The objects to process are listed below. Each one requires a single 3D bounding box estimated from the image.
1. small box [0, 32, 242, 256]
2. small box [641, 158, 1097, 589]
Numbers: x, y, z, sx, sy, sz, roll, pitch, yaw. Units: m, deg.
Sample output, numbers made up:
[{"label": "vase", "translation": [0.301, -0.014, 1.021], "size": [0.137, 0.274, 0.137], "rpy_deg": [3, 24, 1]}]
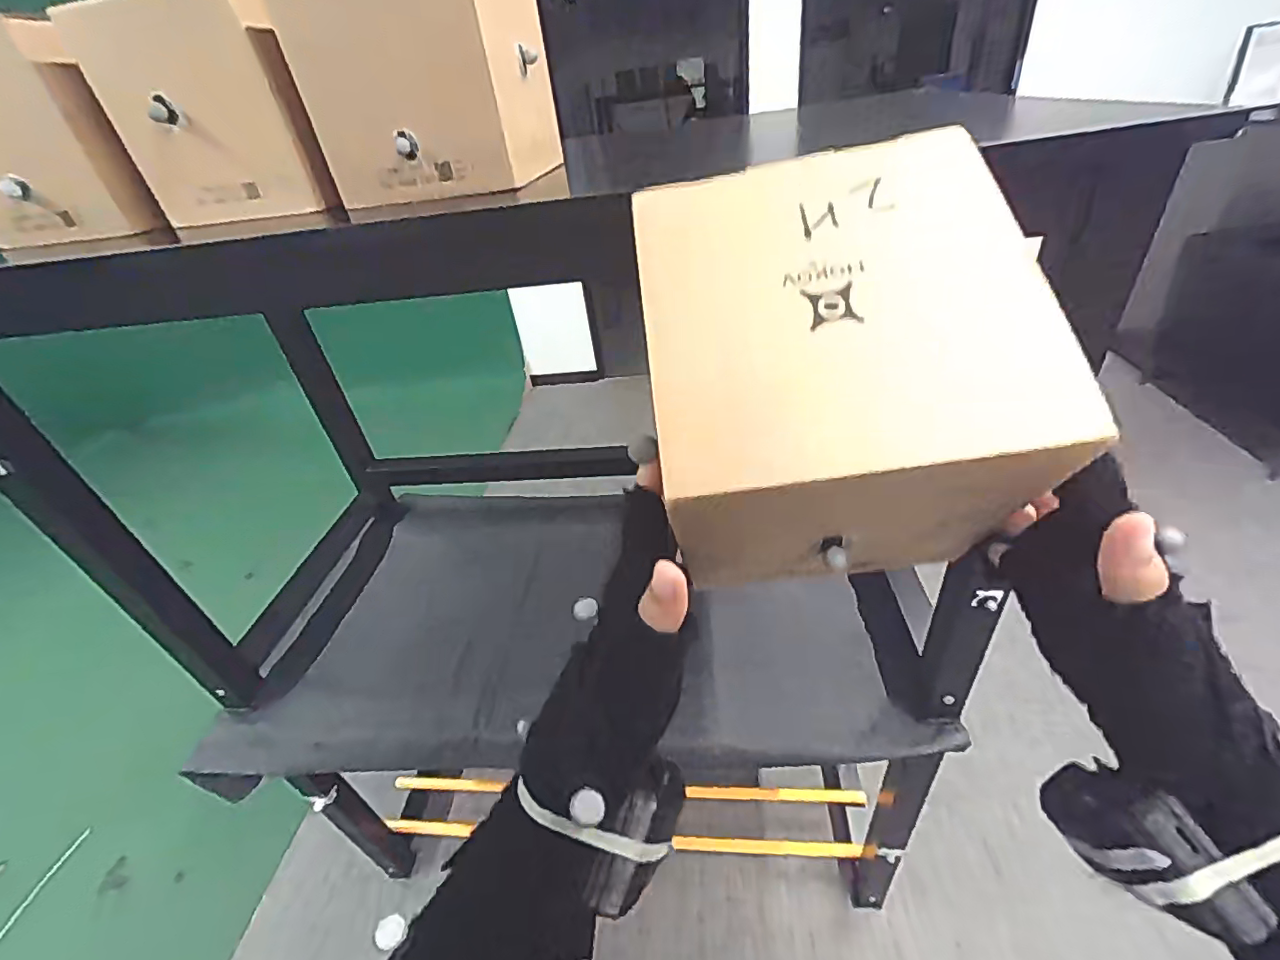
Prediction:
[{"label": "small box", "translation": [-0.567, -0.344, 0.563], "size": [0.168, 0.176, 0.179], "rpy_deg": [-2, 37, 9]}, {"label": "small box", "translation": [0.099, -0.039, 0.316], "size": [0.168, 0.176, 0.179], "rpy_deg": [-8, 65, 6]}]
